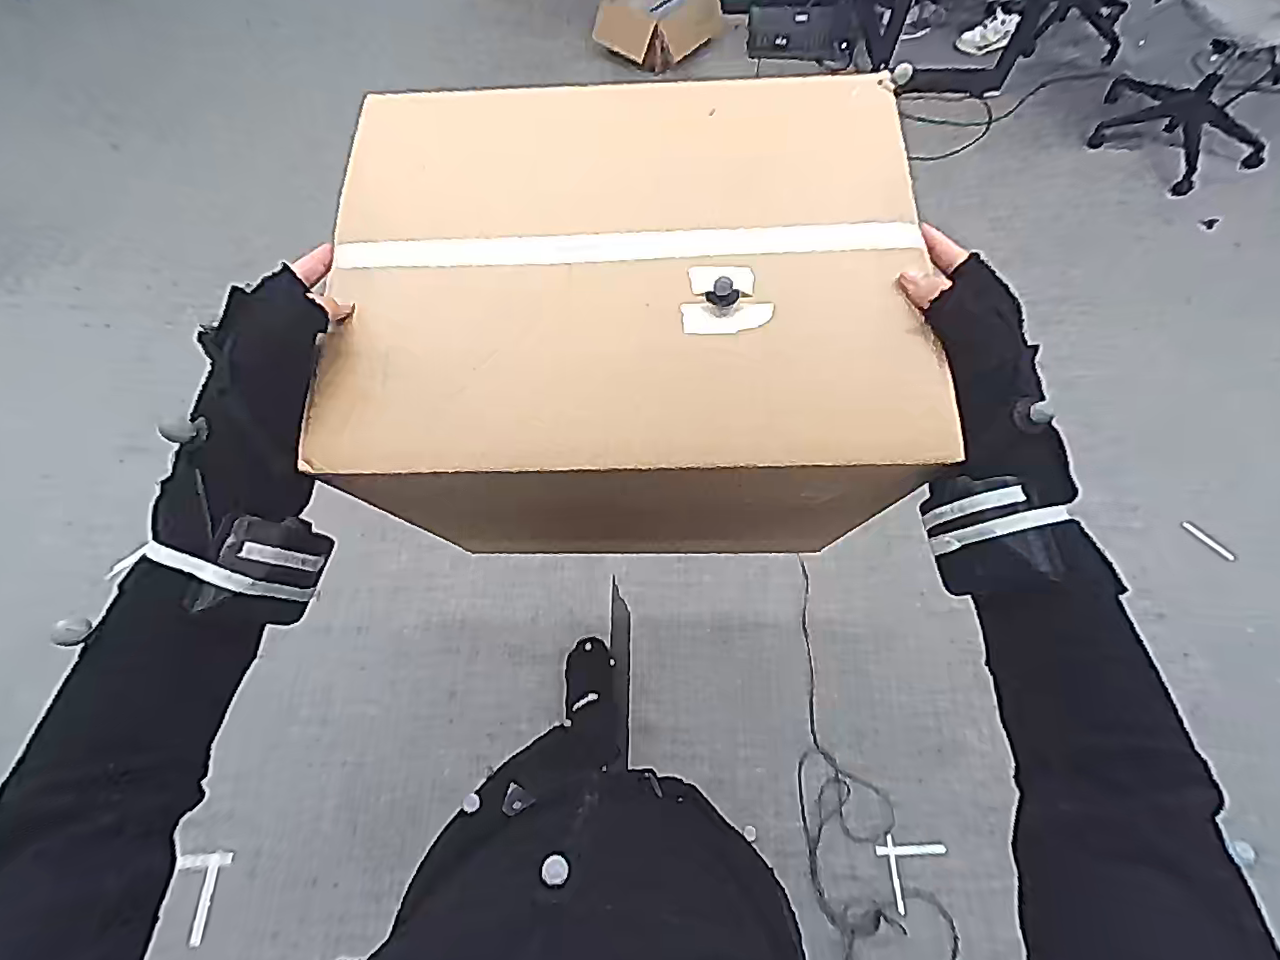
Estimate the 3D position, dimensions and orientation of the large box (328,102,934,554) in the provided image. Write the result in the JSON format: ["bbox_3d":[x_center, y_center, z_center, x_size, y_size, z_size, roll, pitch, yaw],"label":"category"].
[{"bbox_3d":[-0.007,-0.110,0.537,0.408,0.320,0.320,-1,72,2],"label":"large box"}]
